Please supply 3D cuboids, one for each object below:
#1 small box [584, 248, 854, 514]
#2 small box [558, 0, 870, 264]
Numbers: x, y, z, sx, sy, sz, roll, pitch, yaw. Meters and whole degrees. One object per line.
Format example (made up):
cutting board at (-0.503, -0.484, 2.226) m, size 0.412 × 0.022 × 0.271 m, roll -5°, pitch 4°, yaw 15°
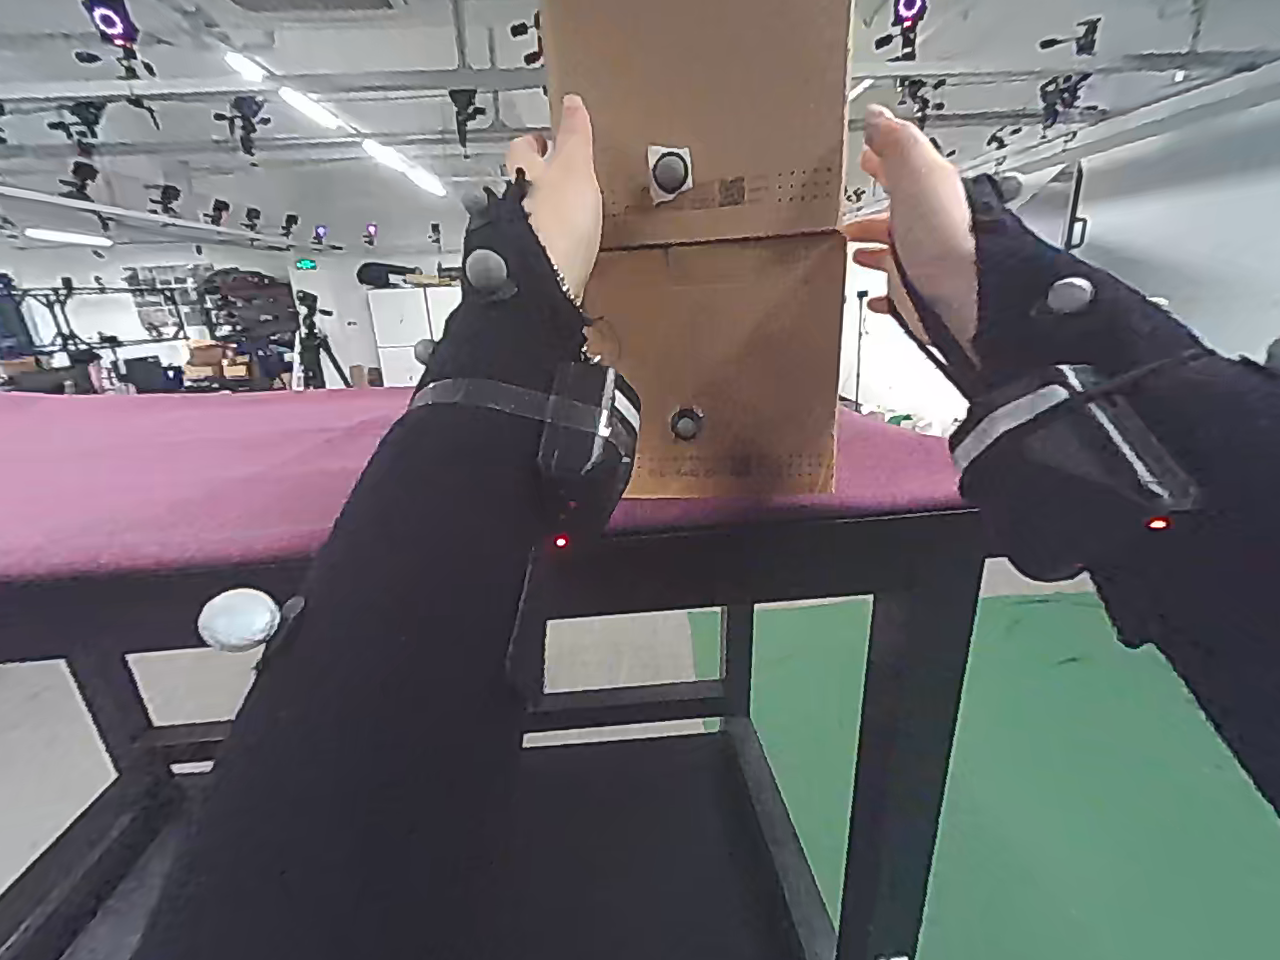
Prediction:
small box at (0.058, -0.083, 0.427) m, size 0.168 × 0.176 × 0.179 m, roll -1°, pitch 20°, yaw 8°
small box at (0.050, -0.233, 0.367) m, size 0.168 × 0.176 × 0.179 m, roll -1°, pitch 21°, yaw 12°
